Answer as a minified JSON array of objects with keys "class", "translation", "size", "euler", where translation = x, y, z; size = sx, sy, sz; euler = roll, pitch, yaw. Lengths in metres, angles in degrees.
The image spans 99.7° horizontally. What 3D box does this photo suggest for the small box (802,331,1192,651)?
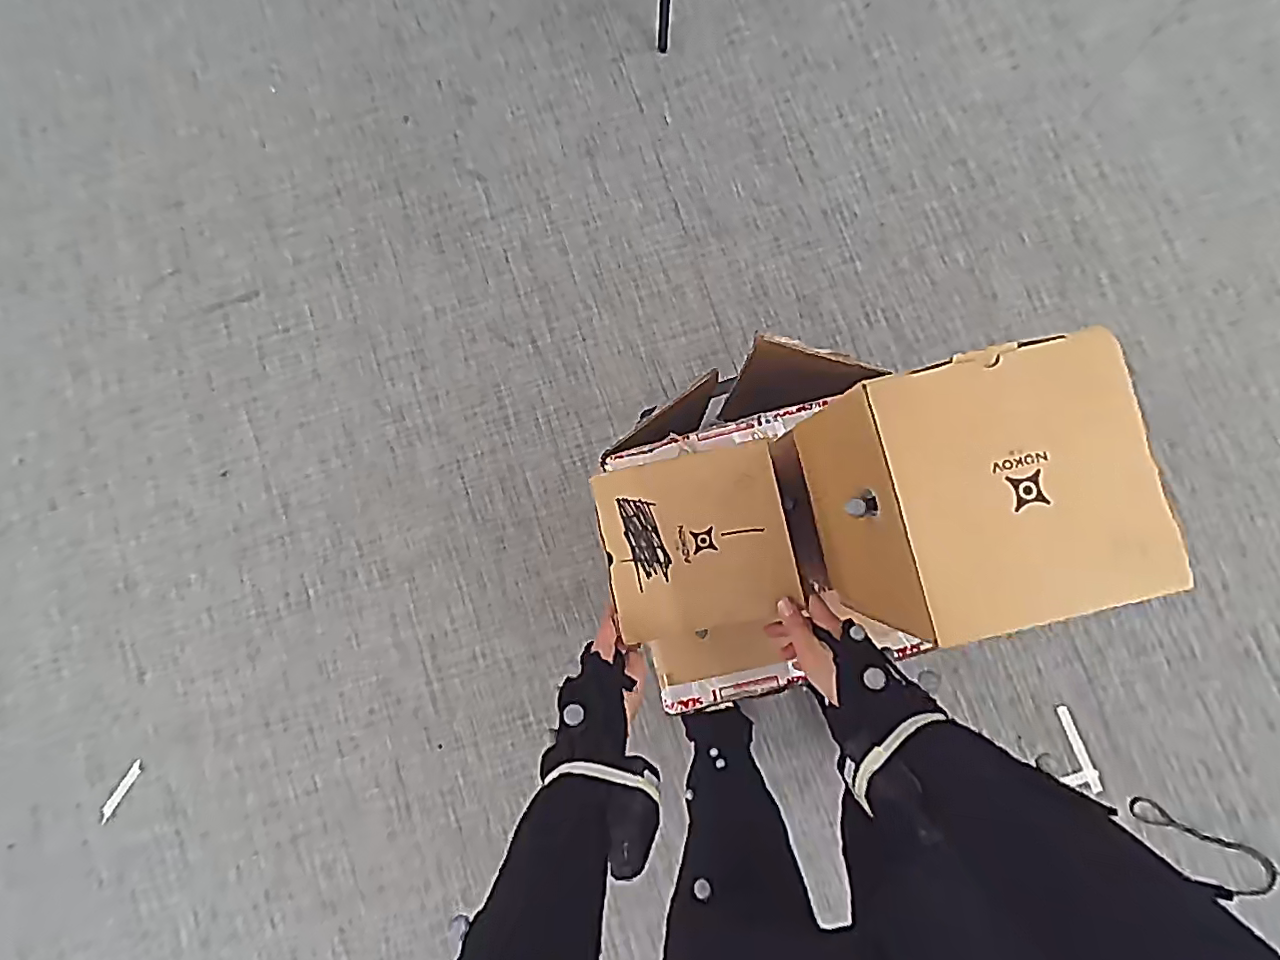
[{"class":"small box","translation":[0.245,0.011,0.421],"size":[0.168,0.176,0.179],"euler":[-14,84,0]}]
